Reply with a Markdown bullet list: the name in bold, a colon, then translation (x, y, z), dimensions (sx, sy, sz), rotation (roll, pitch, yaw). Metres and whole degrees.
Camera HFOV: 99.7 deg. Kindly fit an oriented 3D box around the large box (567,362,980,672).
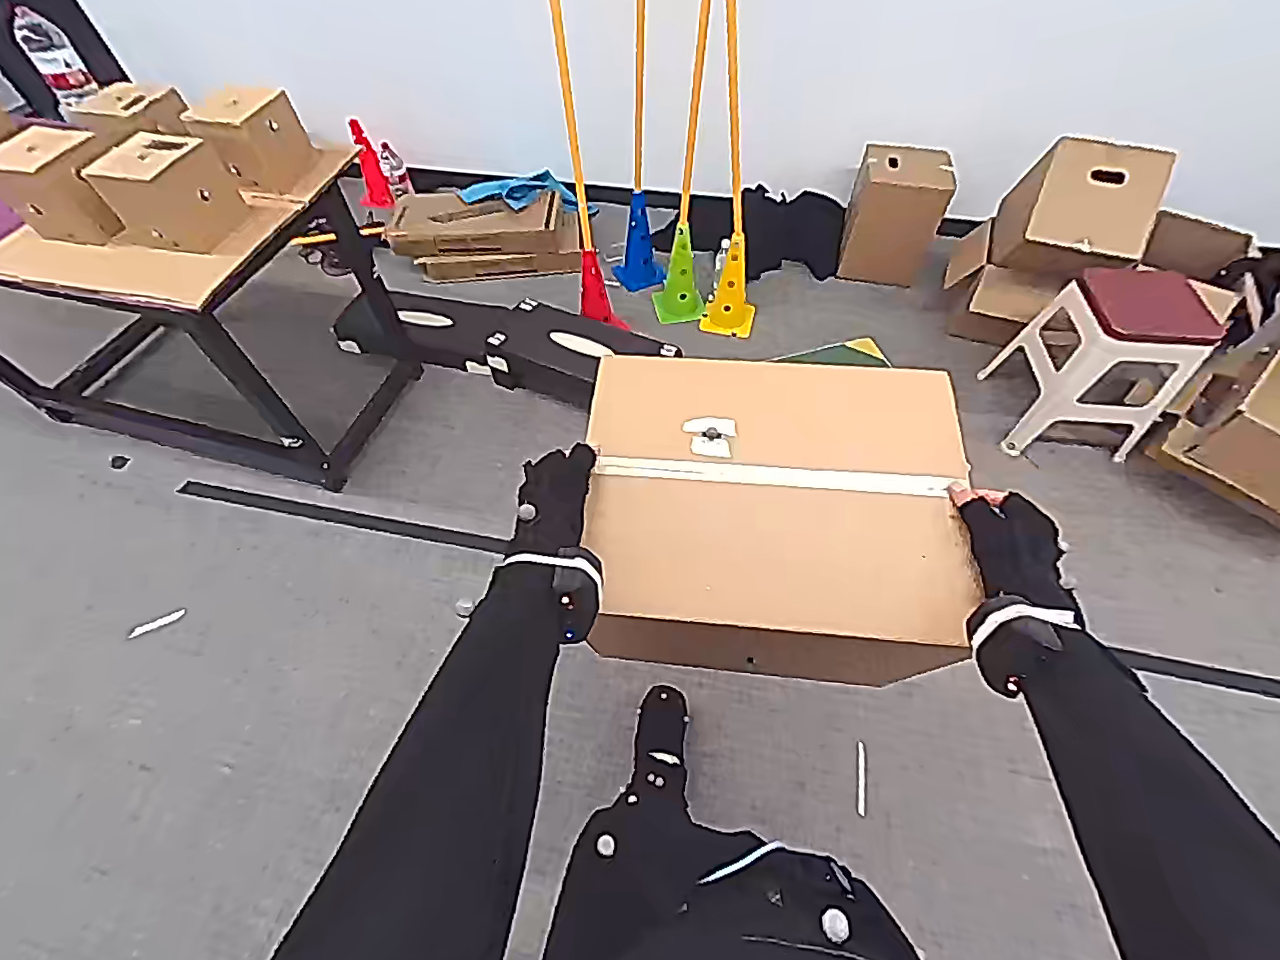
- **large box**: translation (0.150, 0.064, 0.722), dimensions (0.408, 0.320, 0.320), rotation (4, 63, 7)
